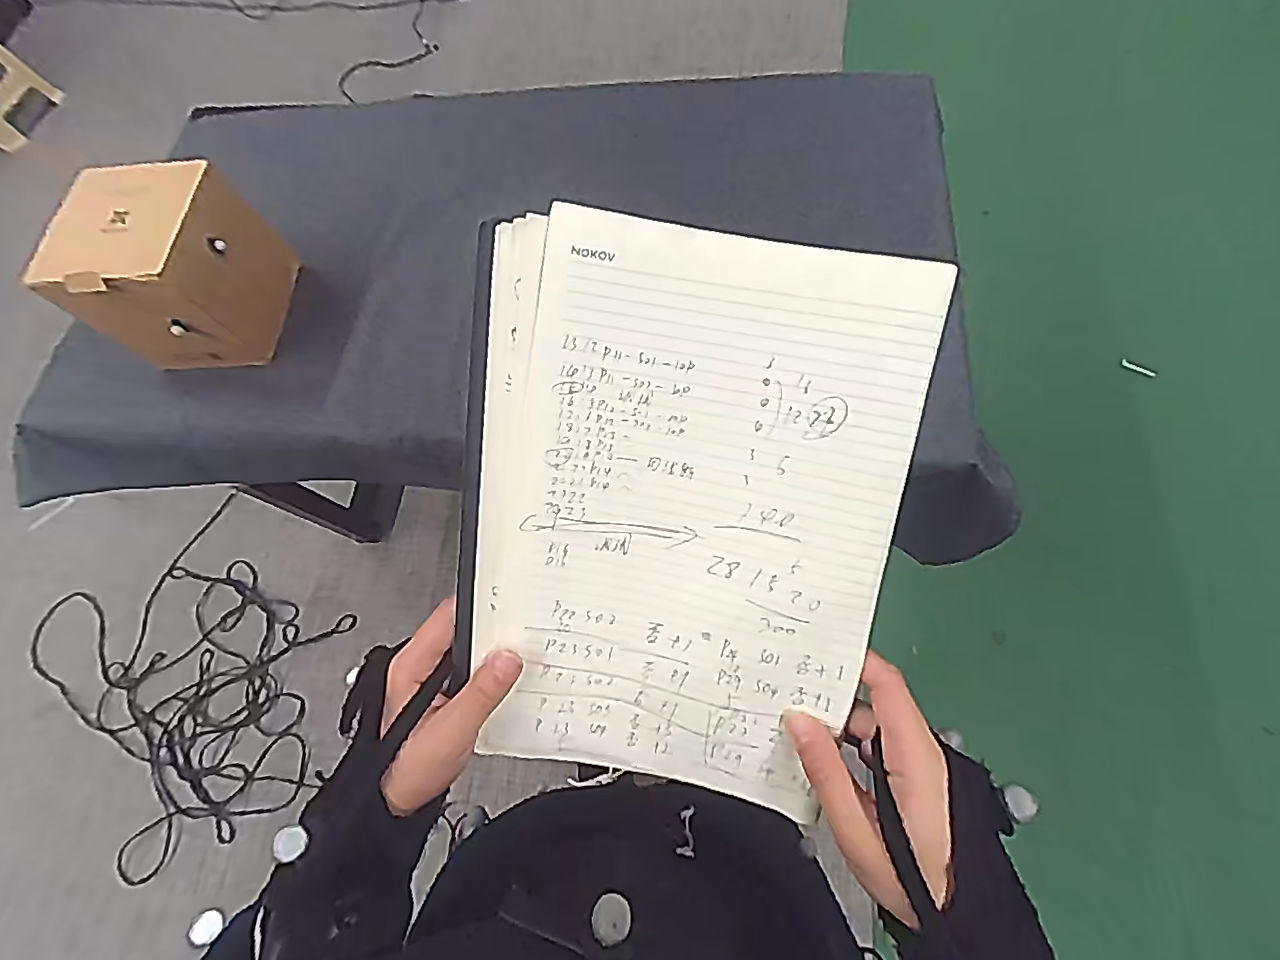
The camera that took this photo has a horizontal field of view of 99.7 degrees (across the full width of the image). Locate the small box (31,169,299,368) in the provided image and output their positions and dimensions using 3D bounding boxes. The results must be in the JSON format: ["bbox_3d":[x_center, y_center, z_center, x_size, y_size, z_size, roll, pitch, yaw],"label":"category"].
[{"bbox_3d":[-0.576,-0.256,0.688,0.168,0.176,0.179,-1,67,5],"label":"small box"}]
